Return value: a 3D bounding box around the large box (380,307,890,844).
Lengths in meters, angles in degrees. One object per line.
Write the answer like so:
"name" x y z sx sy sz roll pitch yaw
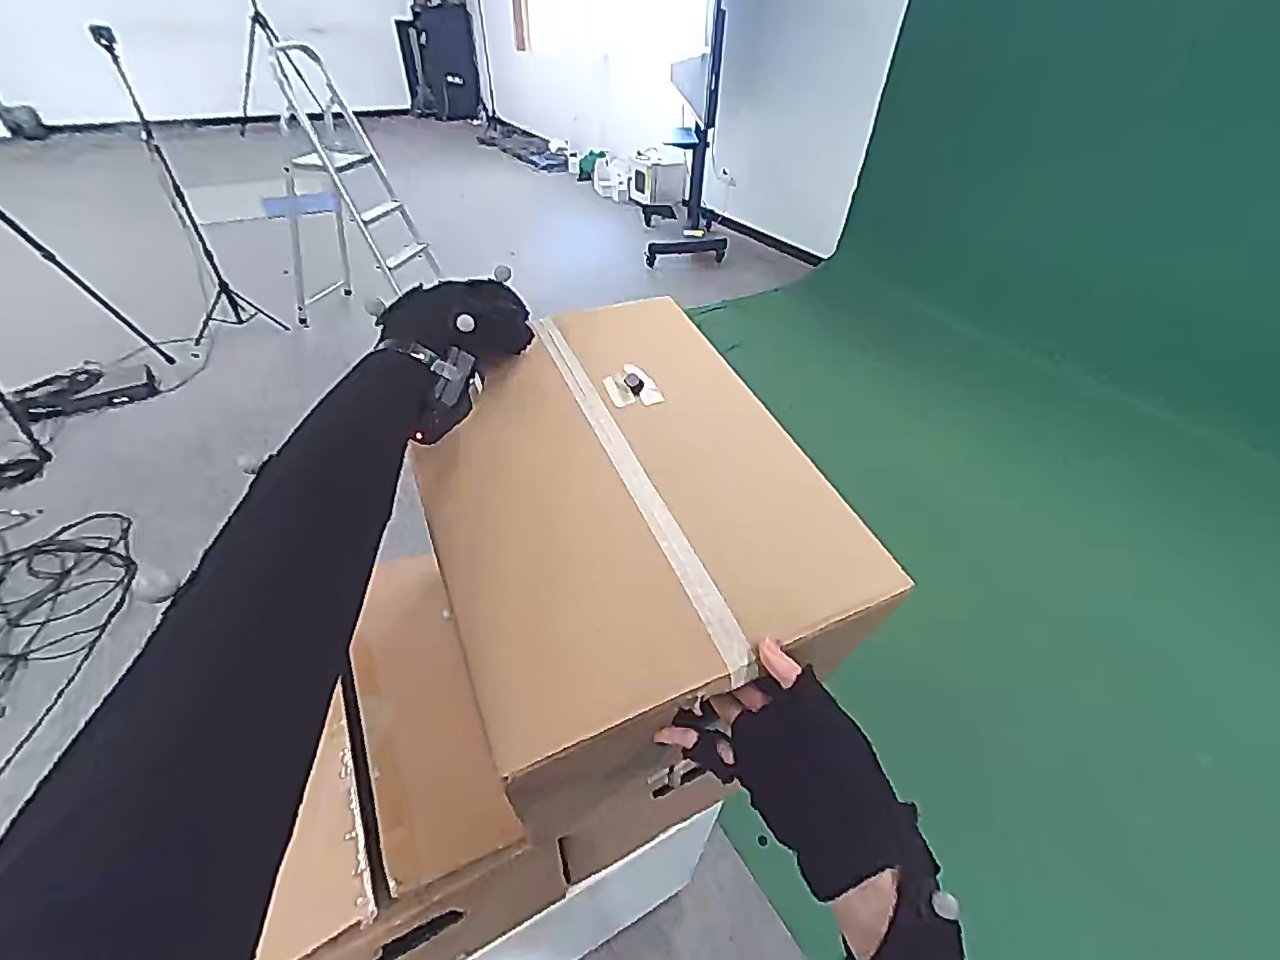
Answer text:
"large box" -0.041 0.077 0.573 0.320 0.320 0.408 -16 51 -19
